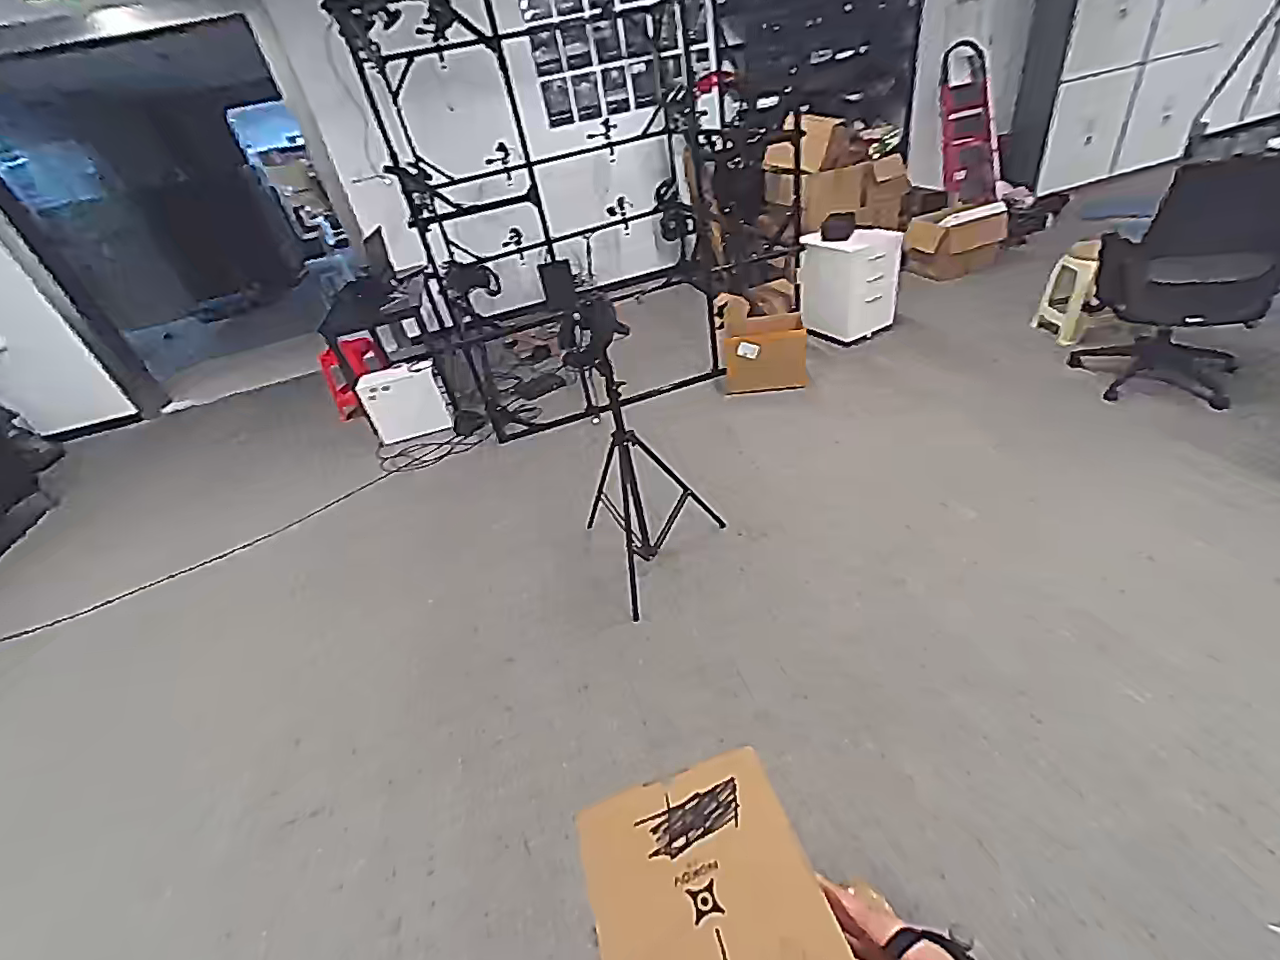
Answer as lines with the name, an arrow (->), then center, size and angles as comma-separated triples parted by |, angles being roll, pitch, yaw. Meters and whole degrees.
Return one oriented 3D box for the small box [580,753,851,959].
small box -> 0.058, 0.374, 0.449 | 0.168, 0.176, 0.179 | -17, 34, -8
